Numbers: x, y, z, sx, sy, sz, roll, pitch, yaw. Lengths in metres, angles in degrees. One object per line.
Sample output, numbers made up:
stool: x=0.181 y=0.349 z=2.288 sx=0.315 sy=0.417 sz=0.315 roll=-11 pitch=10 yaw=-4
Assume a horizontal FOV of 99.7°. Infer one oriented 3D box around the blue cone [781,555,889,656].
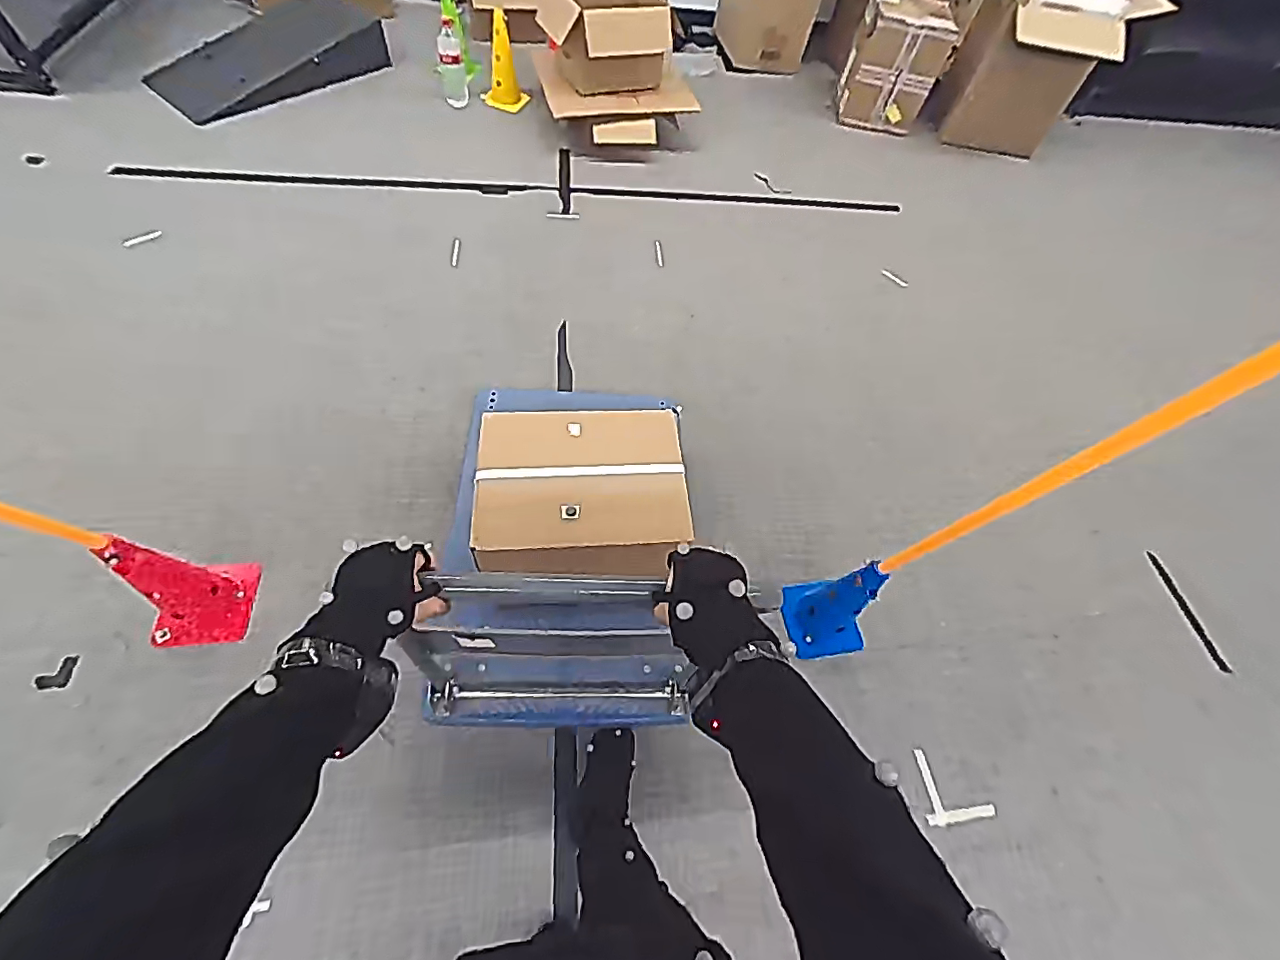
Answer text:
blue cone: x=0.509 y=0.288 z=1.327 sx=0.193 sy=0.380 sz=0.192 roll=-4 pitch=58 yaw=-10
